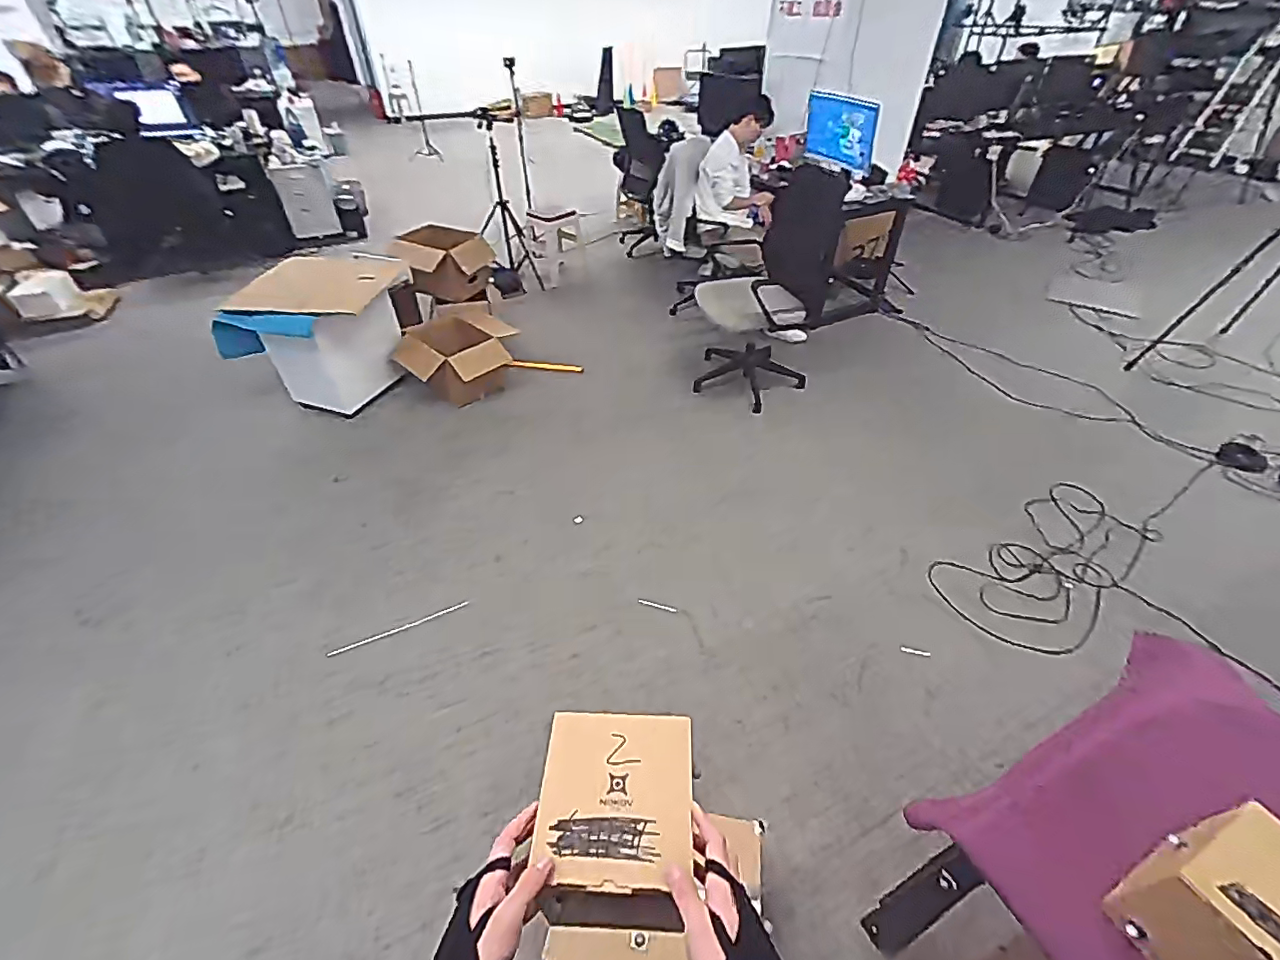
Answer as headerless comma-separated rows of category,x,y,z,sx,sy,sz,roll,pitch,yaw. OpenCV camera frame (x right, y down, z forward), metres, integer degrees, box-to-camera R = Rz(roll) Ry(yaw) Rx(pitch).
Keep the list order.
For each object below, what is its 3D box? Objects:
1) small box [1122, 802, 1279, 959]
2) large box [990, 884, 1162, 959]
small box,0.734,0.531,0.640,0.179,0.176,0.168,-18,45,-20
large box,0.838,1.077,1.023,0.408,0.320,0.320,-18,45,-19
